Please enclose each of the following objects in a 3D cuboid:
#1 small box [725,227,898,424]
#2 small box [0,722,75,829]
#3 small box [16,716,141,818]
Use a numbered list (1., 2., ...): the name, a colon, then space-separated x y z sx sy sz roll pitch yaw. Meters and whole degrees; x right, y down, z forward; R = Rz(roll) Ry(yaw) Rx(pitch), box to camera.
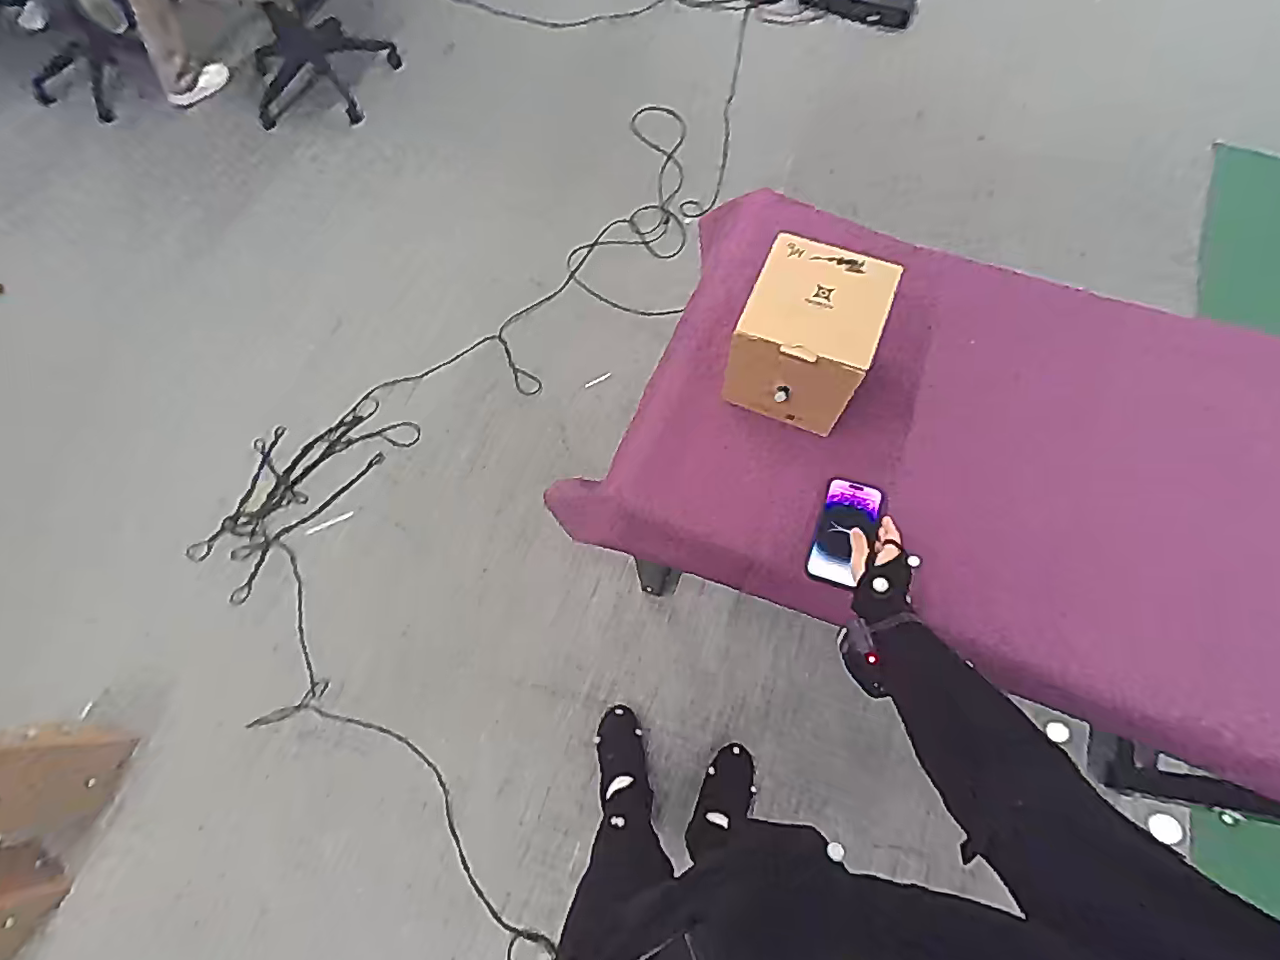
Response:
1. small box: 0.224 -0.204 0.748 0.168 0.176 0.179 22 72 11
2. small box: -1.347 0.610 1.112 0.168 0.176 0.179 9 69 6
3. small box: -1.348 0.660 1.268 0.179 0.176 0.168 12 69 8
